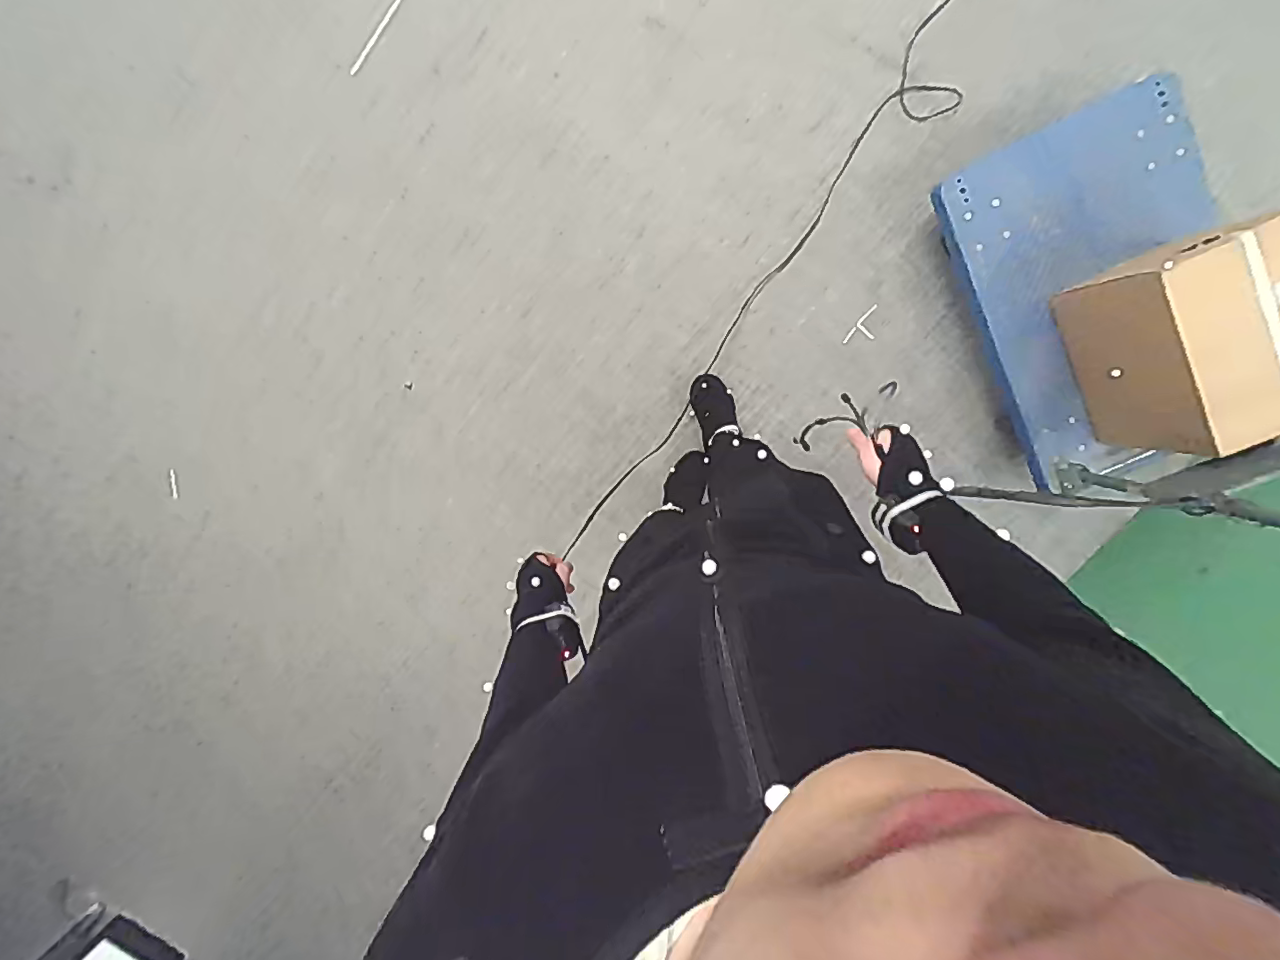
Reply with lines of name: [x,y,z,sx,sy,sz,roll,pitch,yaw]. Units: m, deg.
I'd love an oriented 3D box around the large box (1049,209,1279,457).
large box: [1.212,-0.305,1.191,0.320,0.320,0.408,-24,97,6]
